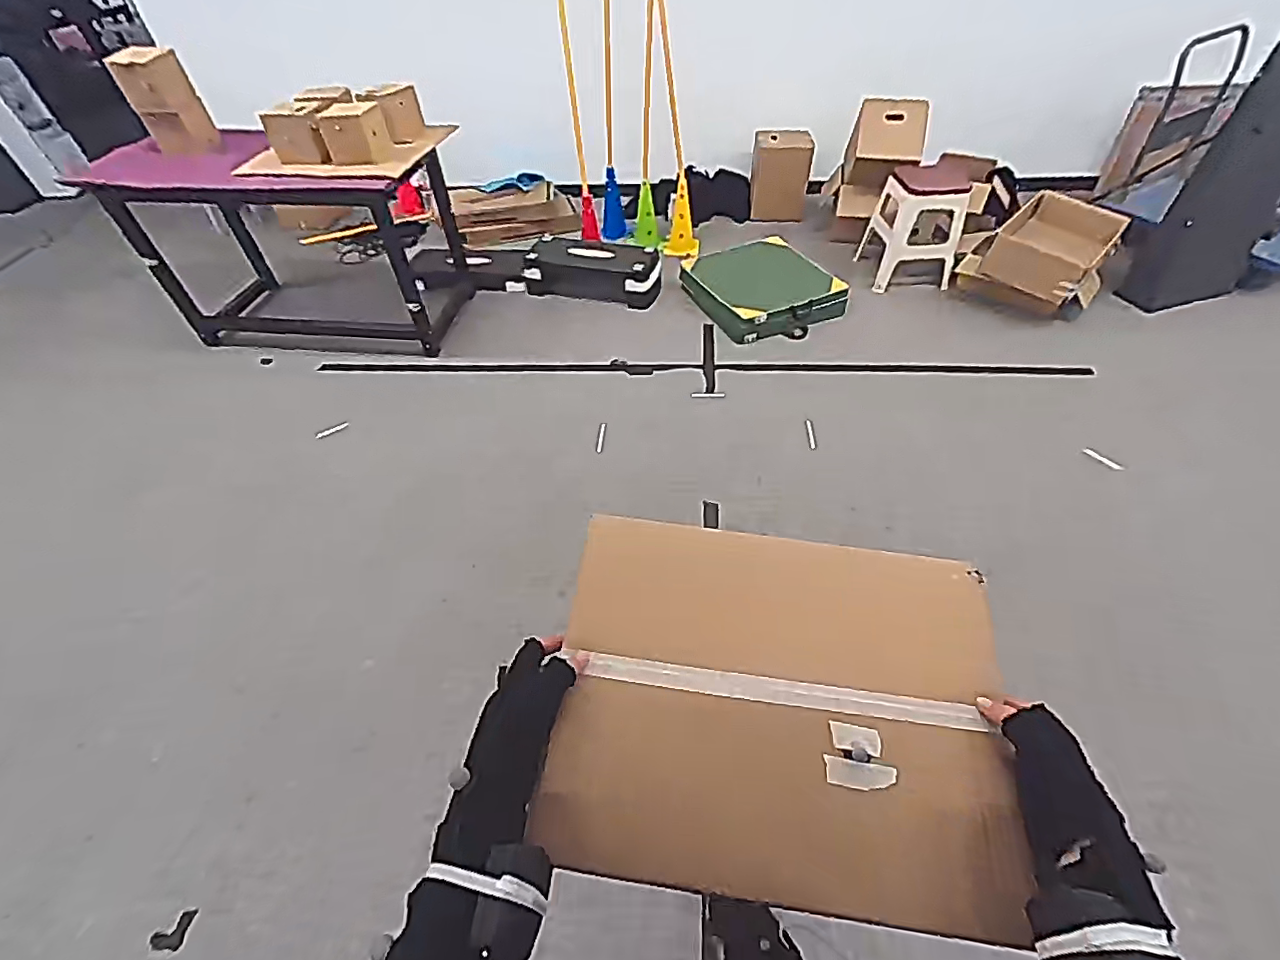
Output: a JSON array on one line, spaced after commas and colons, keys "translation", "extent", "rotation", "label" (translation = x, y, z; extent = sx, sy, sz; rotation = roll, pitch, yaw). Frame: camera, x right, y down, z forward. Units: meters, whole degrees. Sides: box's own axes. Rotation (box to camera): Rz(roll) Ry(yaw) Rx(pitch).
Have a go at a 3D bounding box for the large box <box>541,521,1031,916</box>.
[{"translation": [0.127, 0.272, 0.638], "extent": [0.408, 0.320, 0.320], "rotation": [7, 59, 3], "label": "large box"}]
